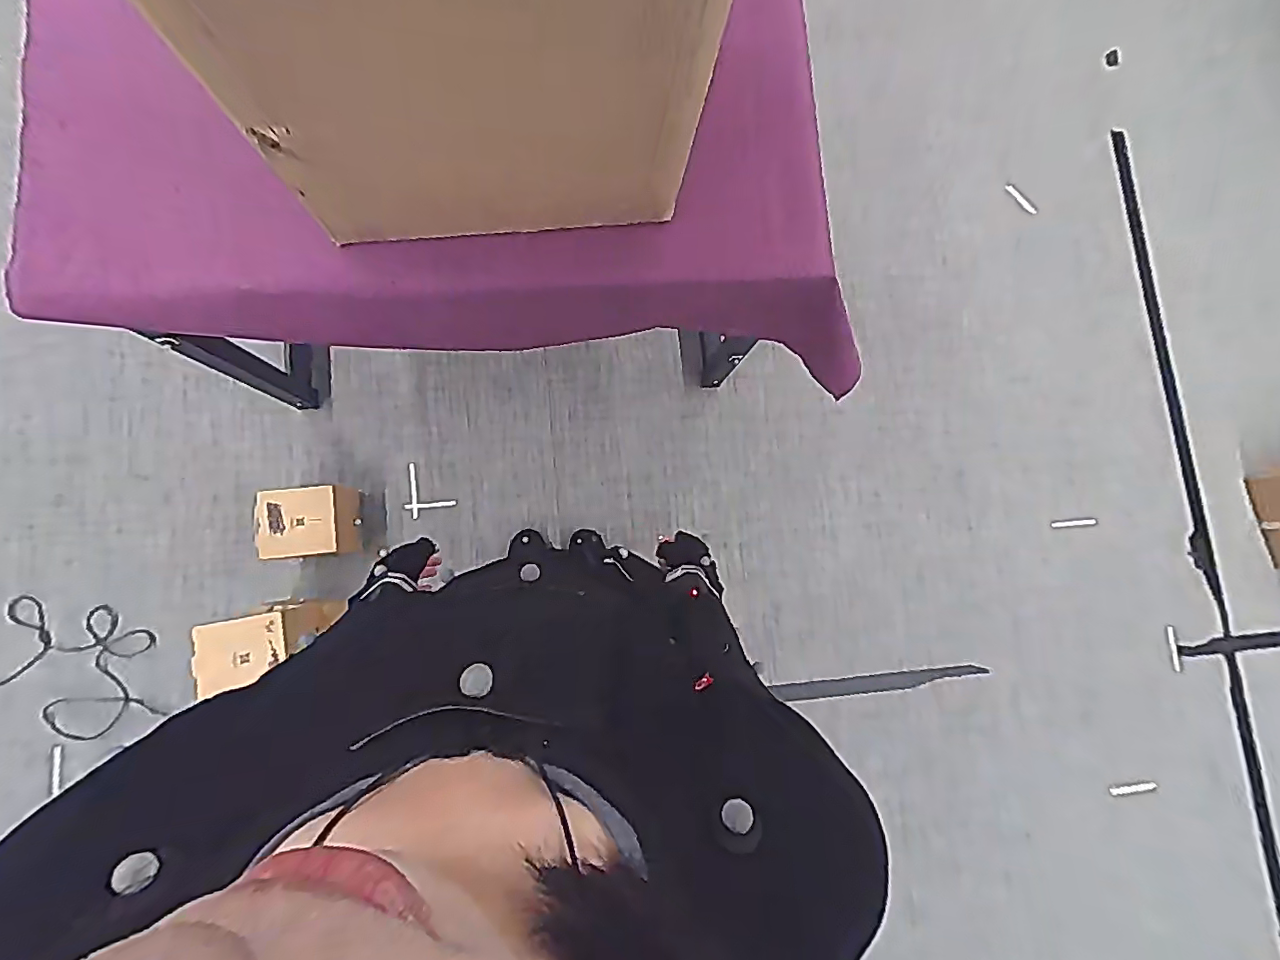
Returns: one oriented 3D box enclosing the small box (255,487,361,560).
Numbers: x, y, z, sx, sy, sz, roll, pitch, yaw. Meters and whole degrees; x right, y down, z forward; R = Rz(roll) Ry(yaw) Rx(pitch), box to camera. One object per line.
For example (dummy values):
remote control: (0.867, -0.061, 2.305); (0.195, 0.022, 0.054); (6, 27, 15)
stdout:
small box: (-0.832, 0.114, 1.367); (0.179, 0.176, 0.168); (-6, 84, -8)

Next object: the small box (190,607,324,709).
small box: (-0.821, 0.378, 1.172); (0.179, 0.176, 0.168); (-9, 83, -7)

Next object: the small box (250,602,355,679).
small box: (-0.828, 0.391, 1.336); (0.179, 0.176, 0.168); (0, 82, -5)
